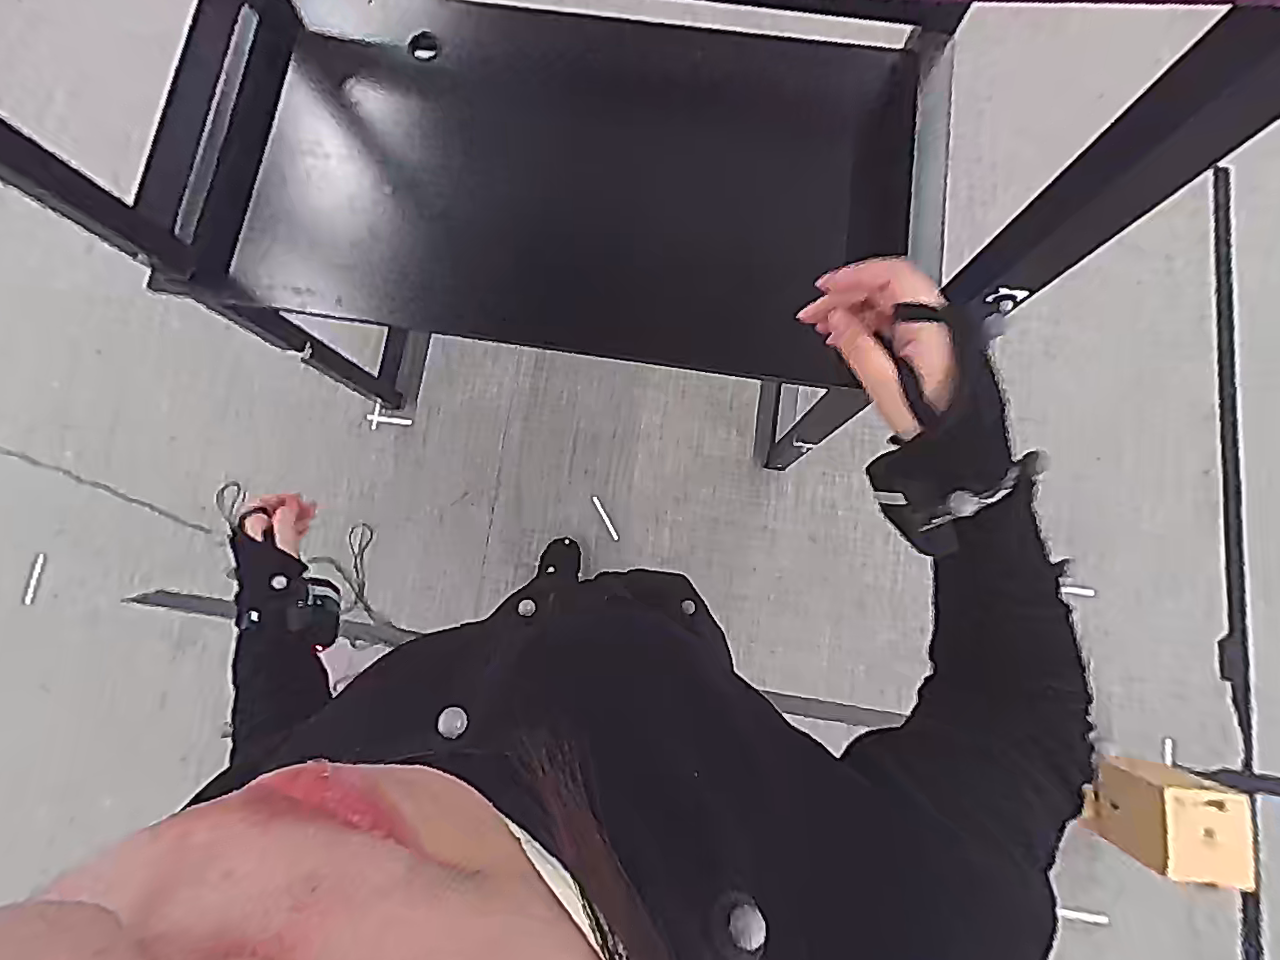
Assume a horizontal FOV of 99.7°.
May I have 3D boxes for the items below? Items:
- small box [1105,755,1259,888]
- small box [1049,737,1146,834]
[{"bbox_3d":[1.134,0.712,1.144,0.168,0.176,0.179,5,82,2],"label":"small box"},{"bbox_3d":[1.134,0.741,1.306,0.179,0.176,0.168,10,82,2],"label":"small box"}]
